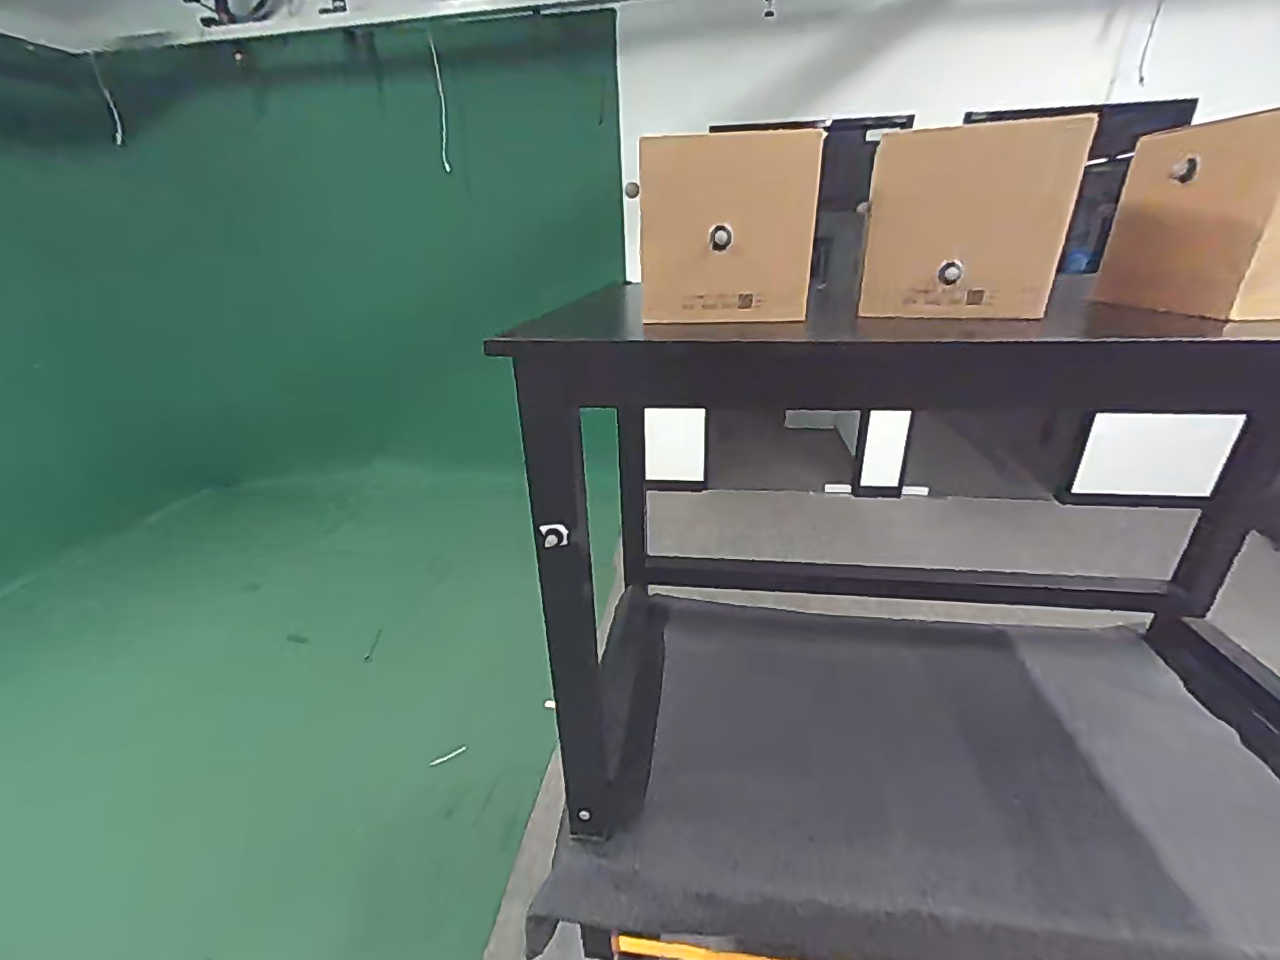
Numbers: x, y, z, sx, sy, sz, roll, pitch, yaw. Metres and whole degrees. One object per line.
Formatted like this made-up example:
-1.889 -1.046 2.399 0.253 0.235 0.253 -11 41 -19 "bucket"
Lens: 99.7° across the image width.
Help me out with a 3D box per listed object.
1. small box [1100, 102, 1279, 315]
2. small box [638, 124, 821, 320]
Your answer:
0.597 -0.248 0.509 0.168 0.176 0.179 0 23 3 "small box"
0.089 -0.270 0.588 0.168 0.176 0.179 1 24 4 "small box"
